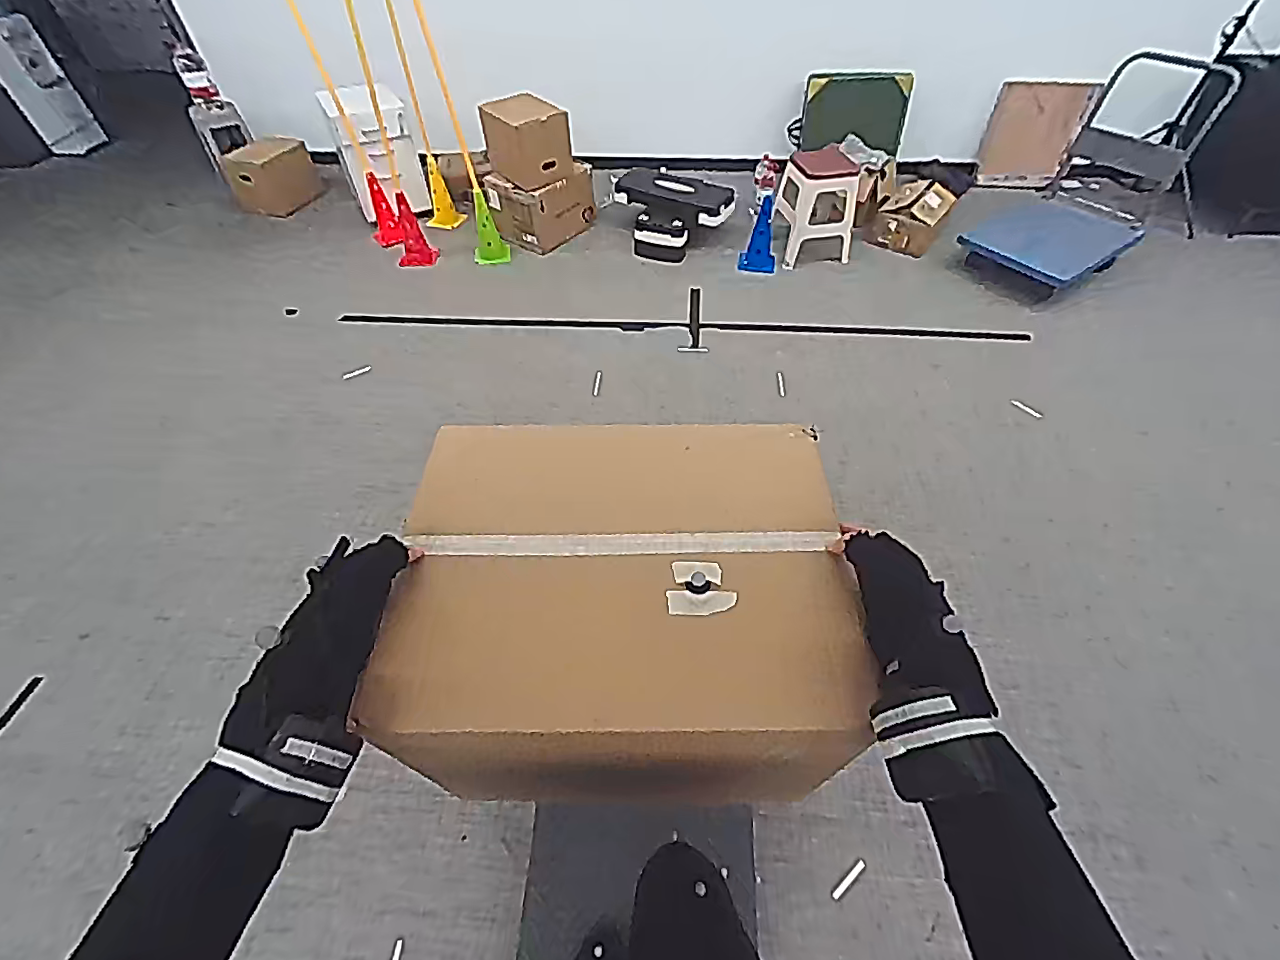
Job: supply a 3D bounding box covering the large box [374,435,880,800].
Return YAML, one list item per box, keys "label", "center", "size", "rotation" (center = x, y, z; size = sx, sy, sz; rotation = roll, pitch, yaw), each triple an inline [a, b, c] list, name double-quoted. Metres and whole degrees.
- label: "large box"
  center: [-0.011, 0.164, 0.625]
  size: [0.408, 0.320, 0.320]
  rotation: [0, 51, 1]
